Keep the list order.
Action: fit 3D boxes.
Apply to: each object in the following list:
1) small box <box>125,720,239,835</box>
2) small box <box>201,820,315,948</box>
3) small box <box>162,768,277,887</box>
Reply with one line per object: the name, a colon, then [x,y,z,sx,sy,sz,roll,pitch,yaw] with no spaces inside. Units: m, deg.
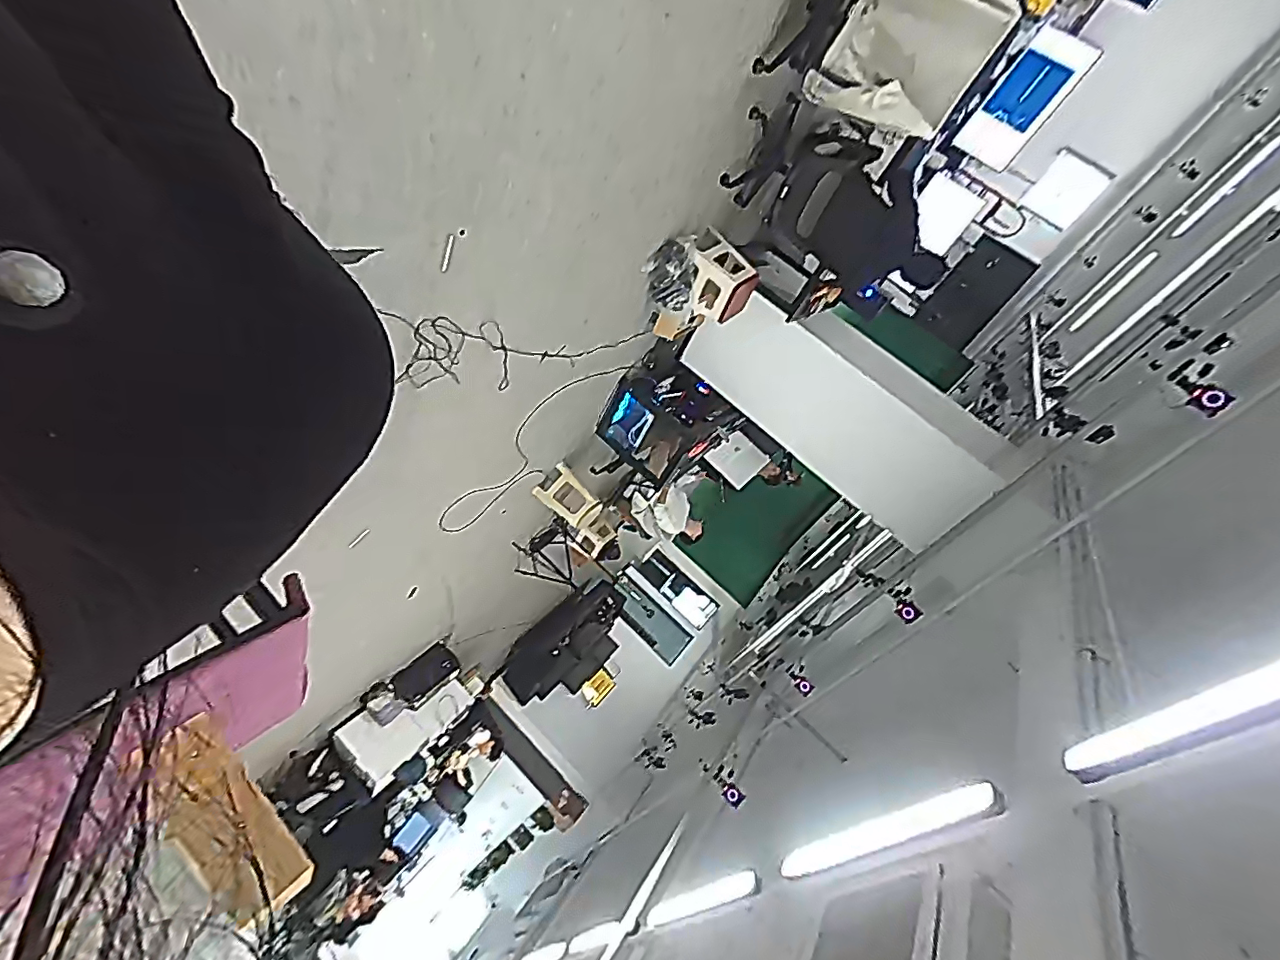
small box: [-1.155,0.746,1.368,0.168,0.176,0.179,-33,161,-51]
small box: [-0.919,0.964,1.300,0.168,0.176,0.179,-33,160,-51]
small box: [-1.038,0.856,1.339,0.168,0.176,0.179,-34,162,-51]
